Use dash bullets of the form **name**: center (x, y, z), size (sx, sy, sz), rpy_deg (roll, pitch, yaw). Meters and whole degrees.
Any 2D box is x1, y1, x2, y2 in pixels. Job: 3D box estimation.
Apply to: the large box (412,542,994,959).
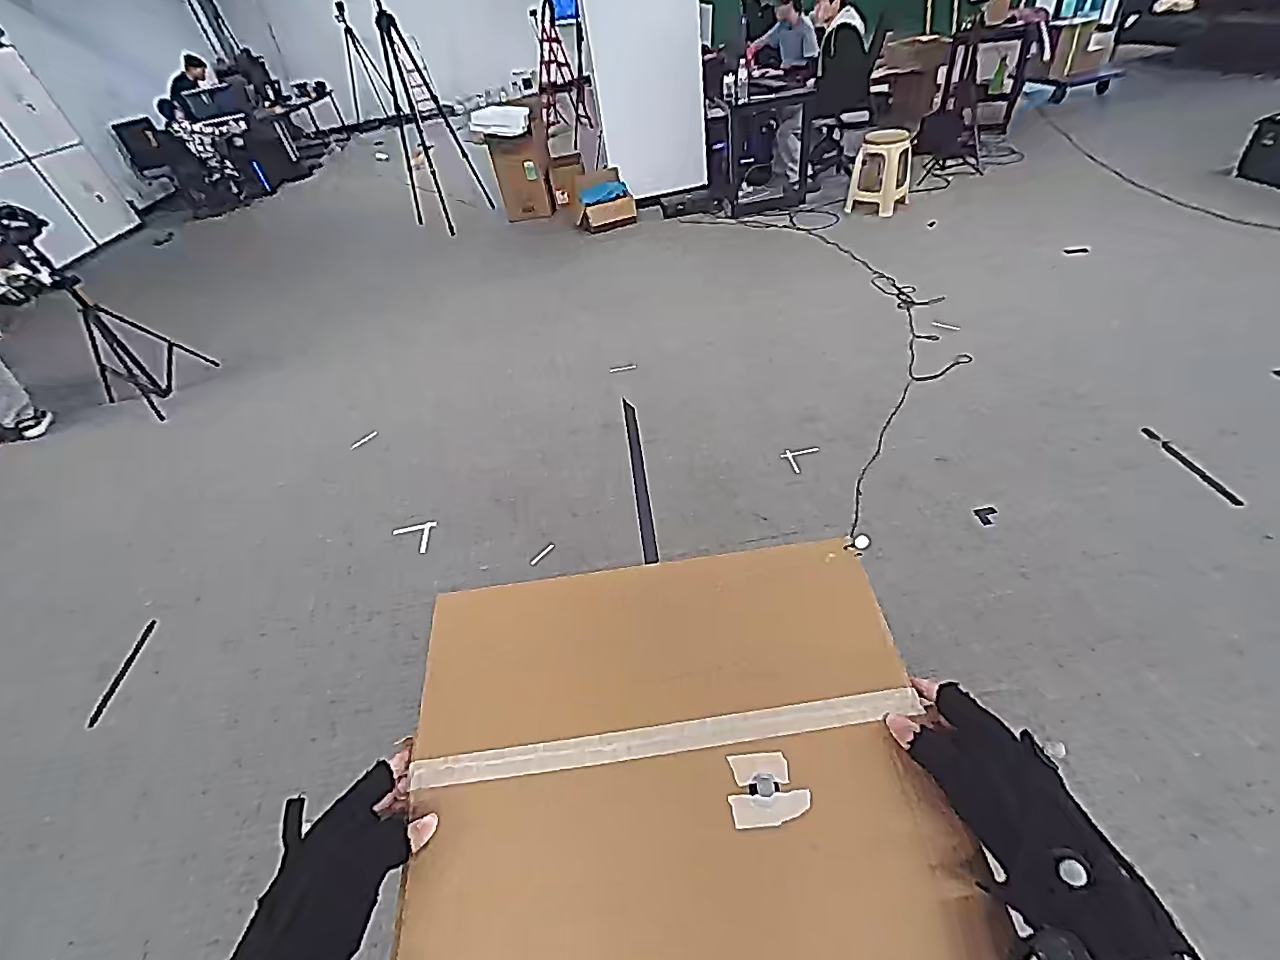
- **large box**: center (0.035, 0.300, 0.563), size (0.408, 0.320, 0.320), rpy_deg (-8, 53, 0)
